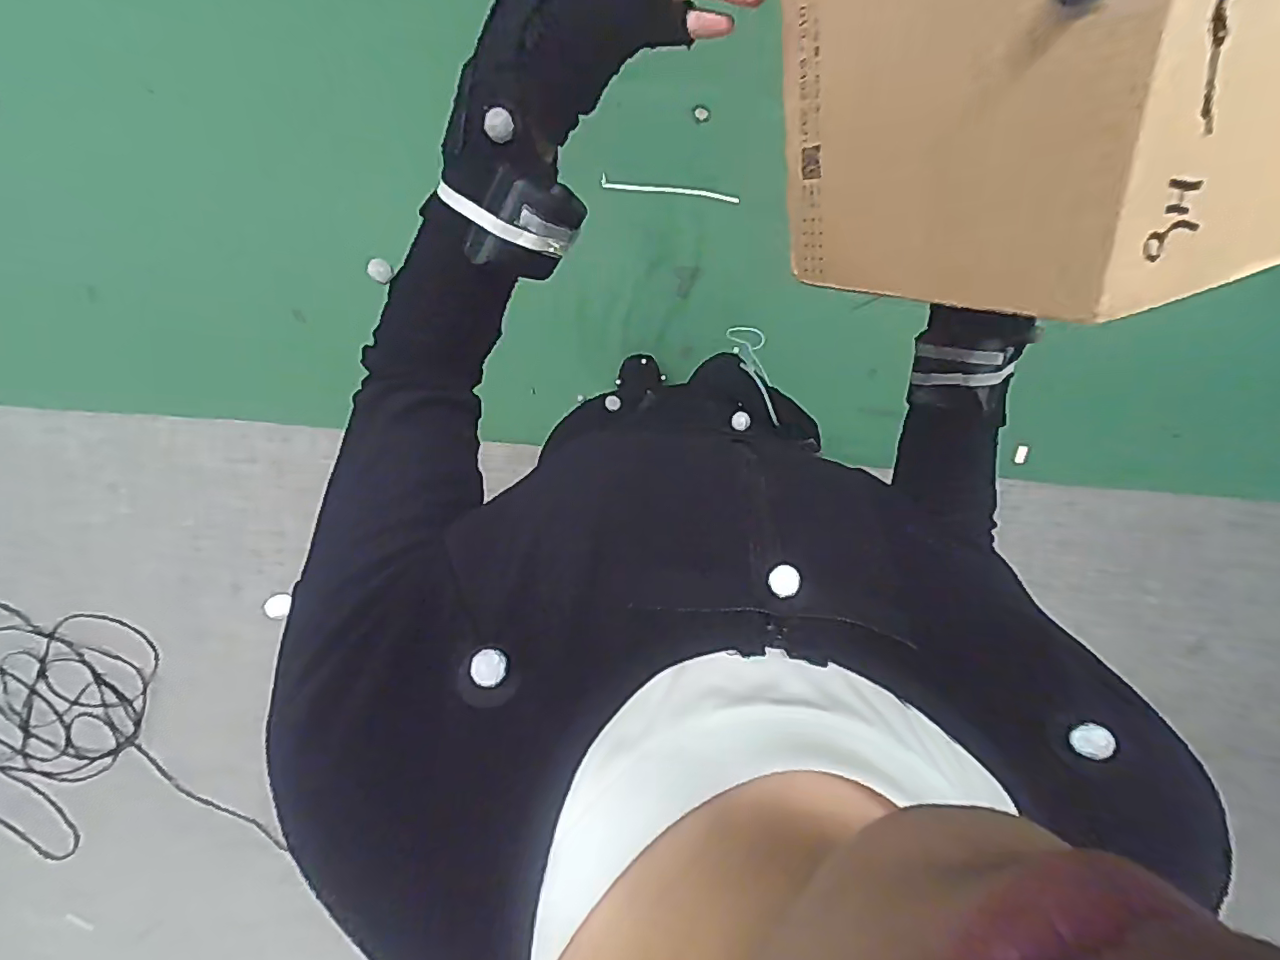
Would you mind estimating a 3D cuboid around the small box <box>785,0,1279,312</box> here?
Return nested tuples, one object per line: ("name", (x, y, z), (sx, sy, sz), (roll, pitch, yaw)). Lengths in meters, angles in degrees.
("small box", (0.184, -0.183, 0.229), (0.179, 0.176, 0.168), (-19, 120, -16))
